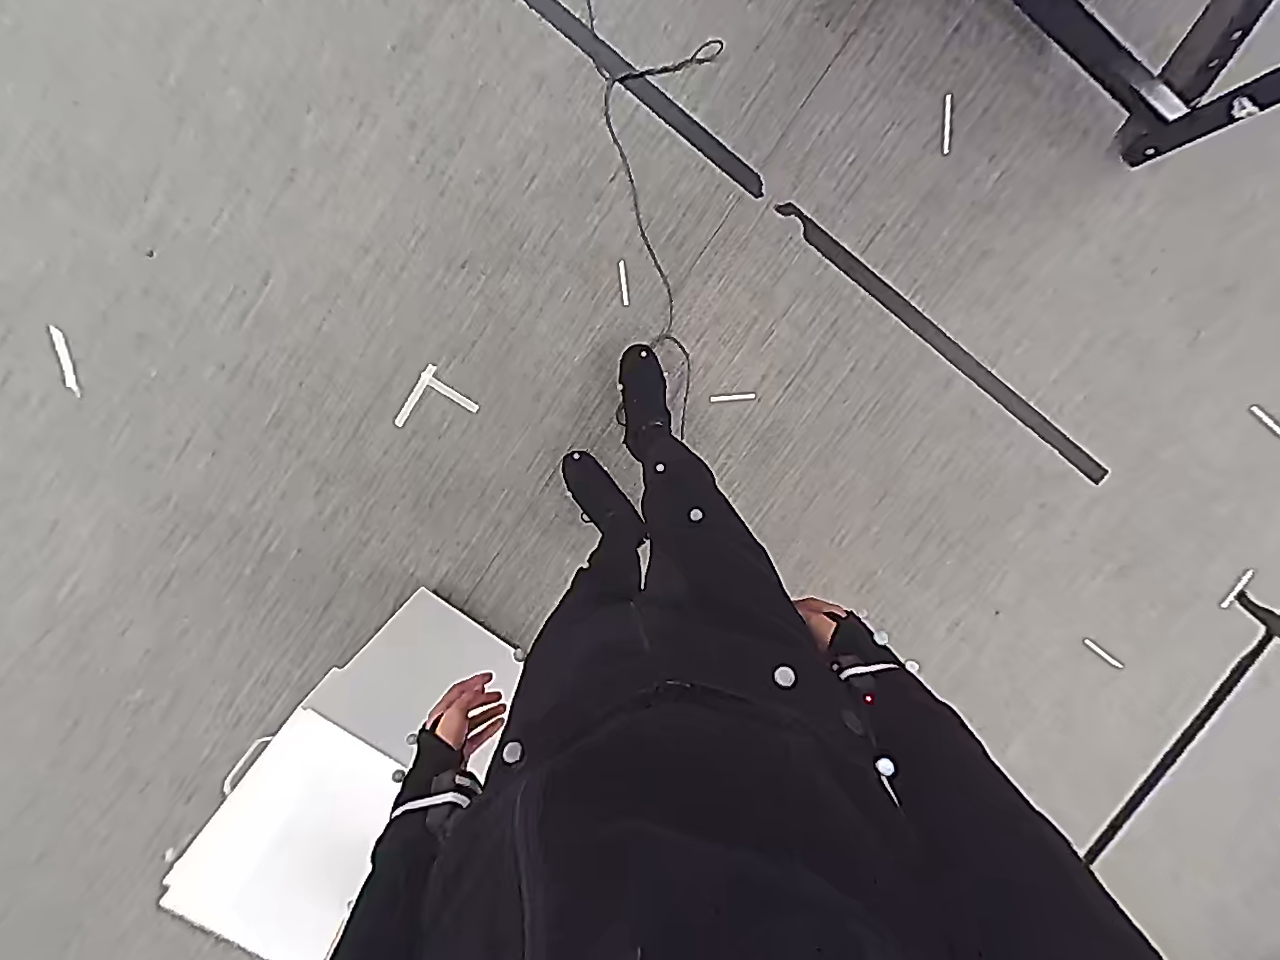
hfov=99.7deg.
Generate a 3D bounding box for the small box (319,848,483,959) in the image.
[{"bbox_3d":[-0.358,0.696,0.796,0.179,0.176,0.168,35,93,-8],"label":"small box"}]
